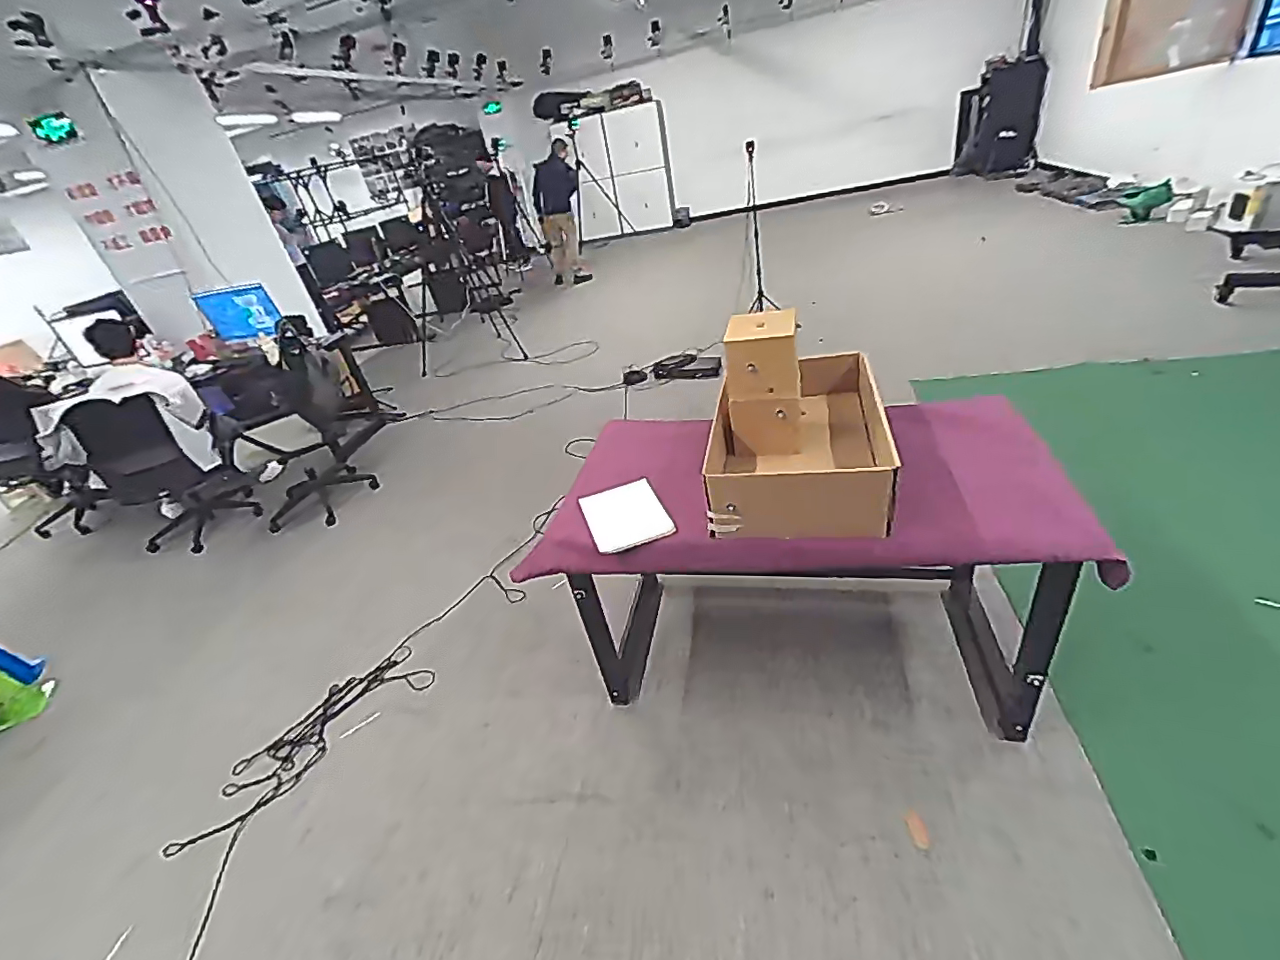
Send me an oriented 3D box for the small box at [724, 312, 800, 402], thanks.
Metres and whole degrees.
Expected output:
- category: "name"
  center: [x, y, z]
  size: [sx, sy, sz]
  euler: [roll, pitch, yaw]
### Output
- category: "small box"
  center: [0.317, -0.307, 1.377]
  size: [0.168, 0.176, 0.179]
  euler: [-2, 35, 19]
